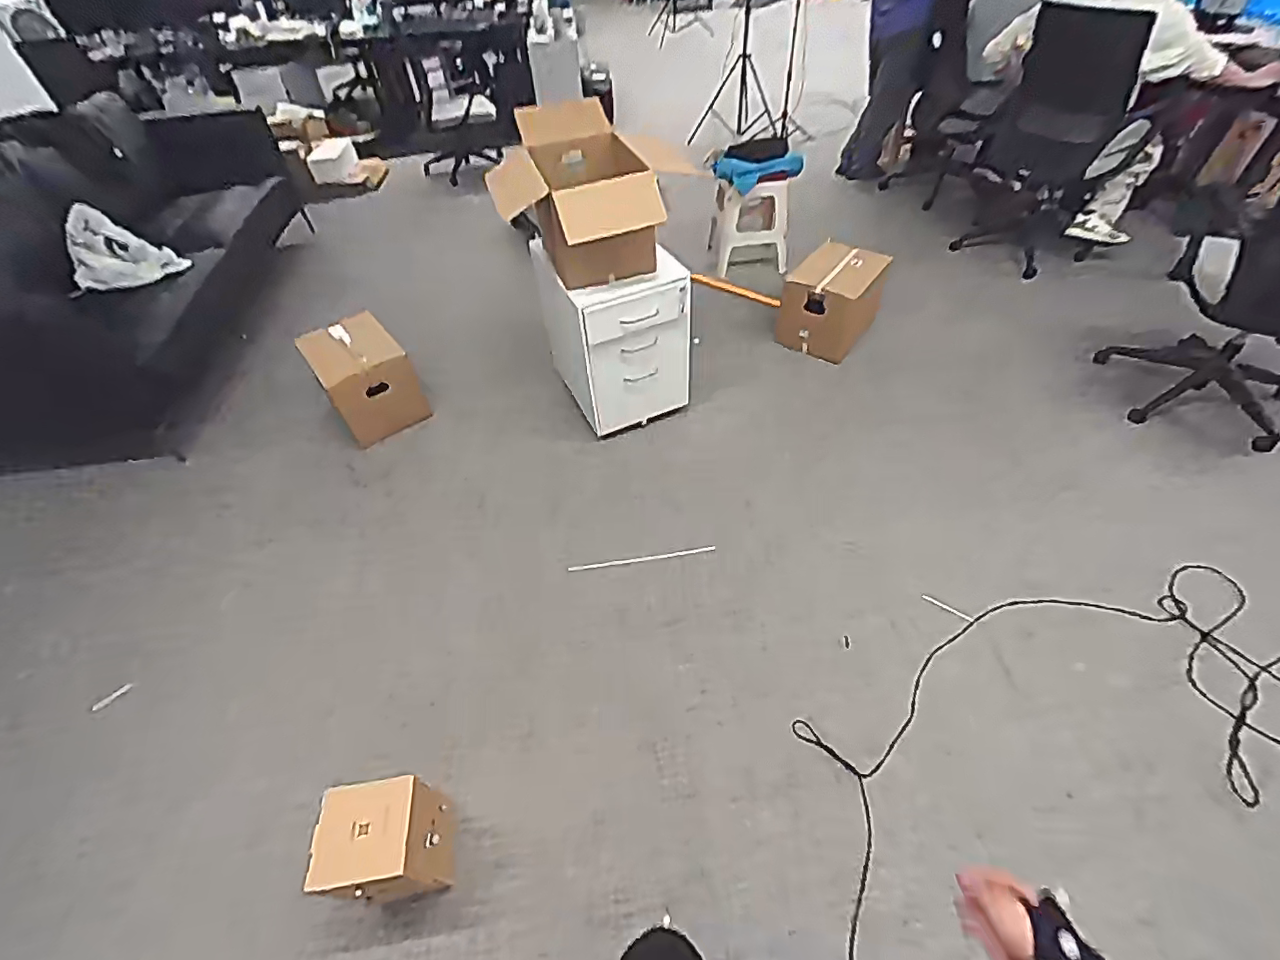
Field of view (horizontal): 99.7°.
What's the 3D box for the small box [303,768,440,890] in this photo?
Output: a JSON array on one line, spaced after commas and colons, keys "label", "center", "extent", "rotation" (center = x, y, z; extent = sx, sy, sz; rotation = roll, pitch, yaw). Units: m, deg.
[{"label": "small box", "center": [-0.518, 0.694, 1.071], "extent": [0.179, 0.176, 0.168], "rotation": [-8, 49, -4]}]
